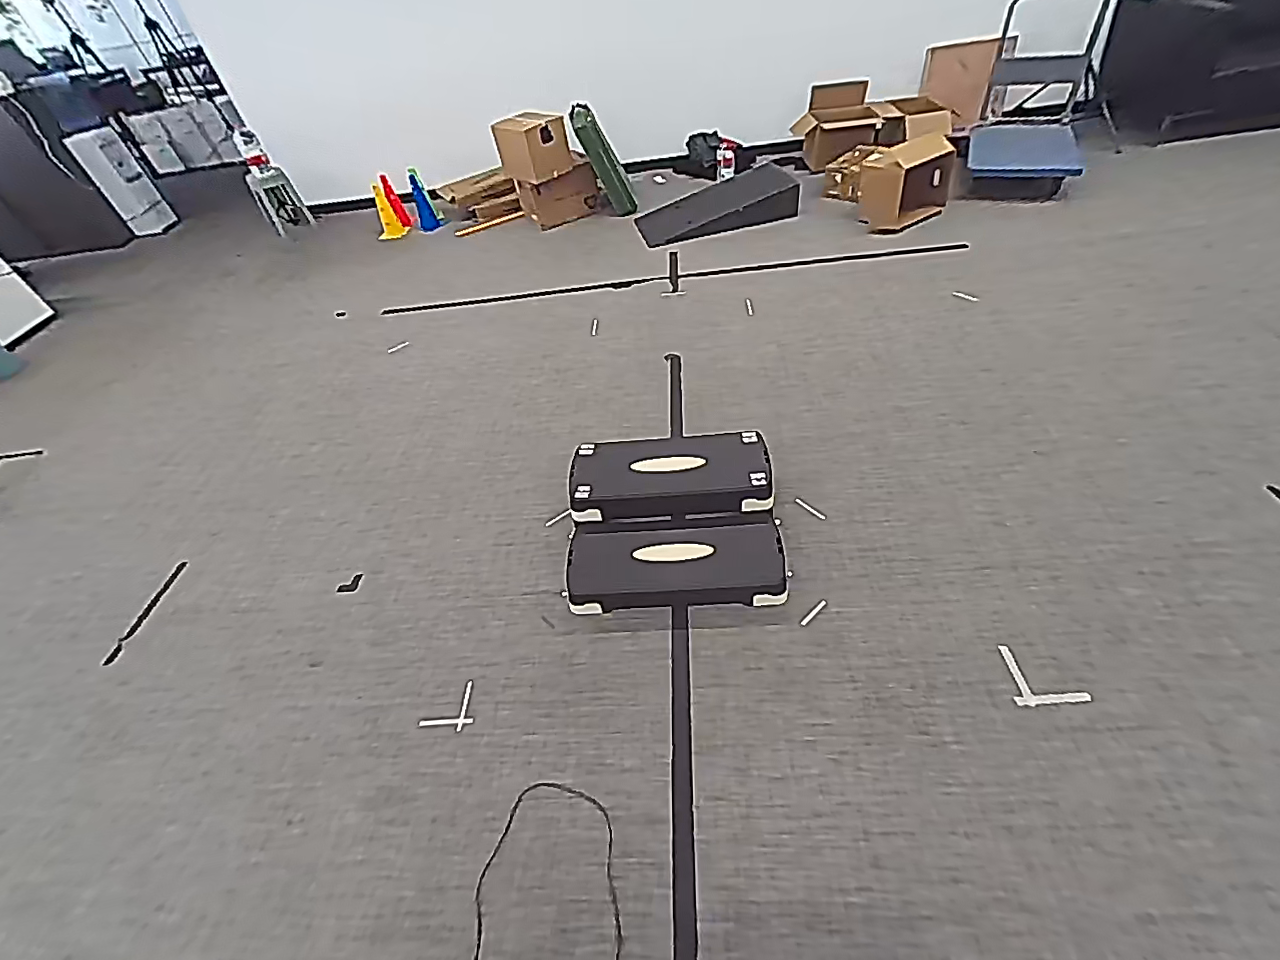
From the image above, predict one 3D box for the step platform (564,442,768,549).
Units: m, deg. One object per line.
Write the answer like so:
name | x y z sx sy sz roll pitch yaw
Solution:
step platform | 0.086 0.048 1.844 0.684 0.204 0.286 -4 46 5
